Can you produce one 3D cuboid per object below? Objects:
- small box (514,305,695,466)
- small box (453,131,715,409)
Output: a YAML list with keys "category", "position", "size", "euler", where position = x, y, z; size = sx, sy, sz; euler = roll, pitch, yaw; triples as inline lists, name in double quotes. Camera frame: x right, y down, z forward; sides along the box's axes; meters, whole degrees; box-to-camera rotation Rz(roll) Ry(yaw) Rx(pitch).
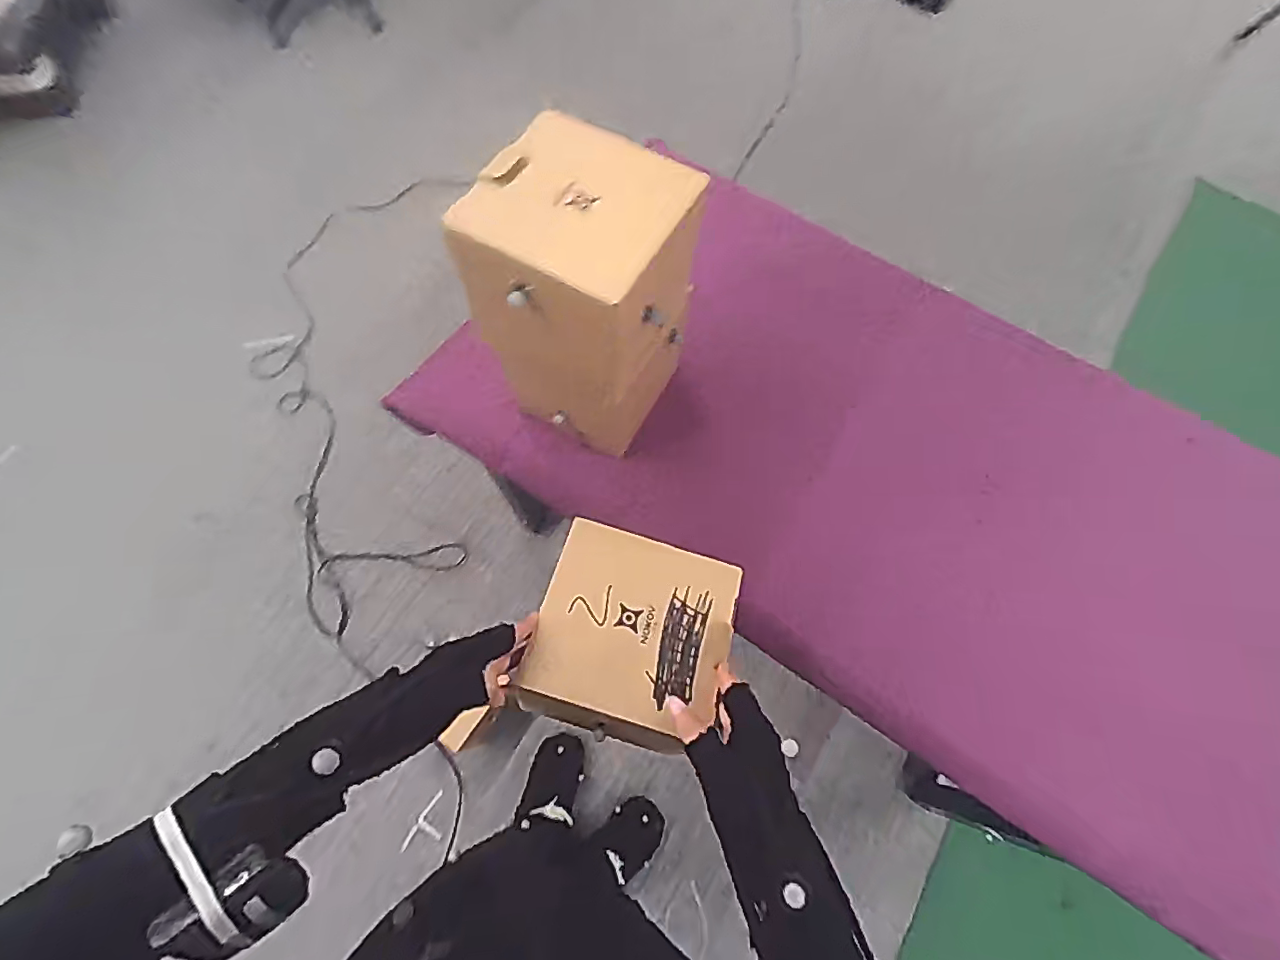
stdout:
- category: "small box"
  position: [-0.051, -0.150, 0.704]
  size: [0.168, 0.176, 0.179]
  euler: [29, 69, 9]
- category: "small box"
  position: [-0.049, -0.197, 0.547]
  size: [0.179, 0.176, 0.168]
  euler: [29, 70, 9]
